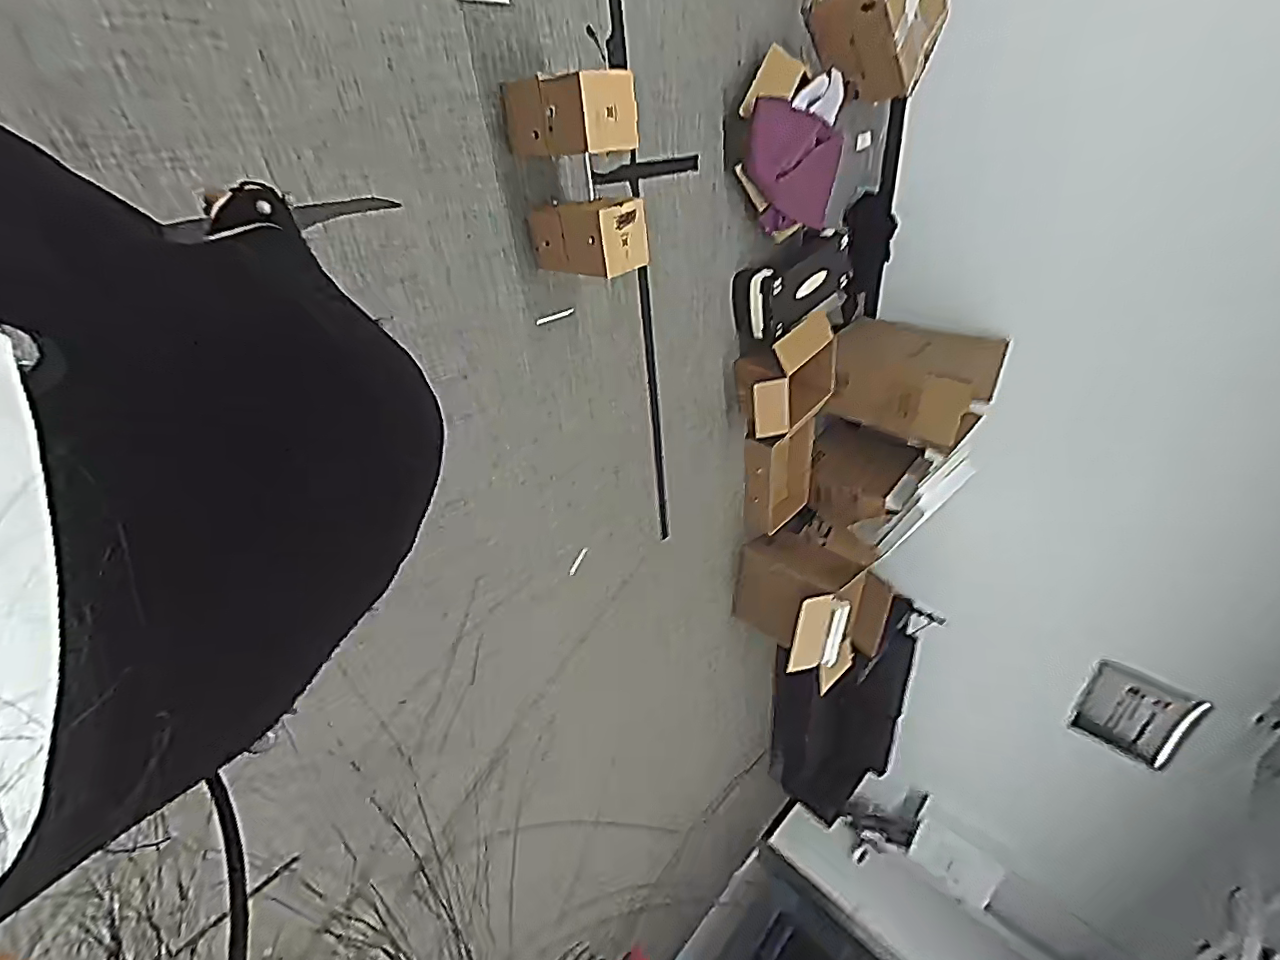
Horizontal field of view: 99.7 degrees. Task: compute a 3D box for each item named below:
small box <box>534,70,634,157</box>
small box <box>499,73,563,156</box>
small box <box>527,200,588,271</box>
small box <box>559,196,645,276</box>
[{"bbox_3d":[-0.140,-0.928,1.372,0.179,0.176,0.168,-31,129,-33],"label":"small box"},{"bbox_3d":[-0.259,-0.985,1.468,0.168,0.176,0.179,-31,130,-35],"label":"small box"},{"bbox_3d":[-0.222,-0.744,1.639,0.179,0.176,0.168,-34,132,-31],"label":"small box"},{"bbox_3d":[-0.109,-0.693,1.529,0.168,0.176,0.179,-35,133,-32],"label":"small box"}]
